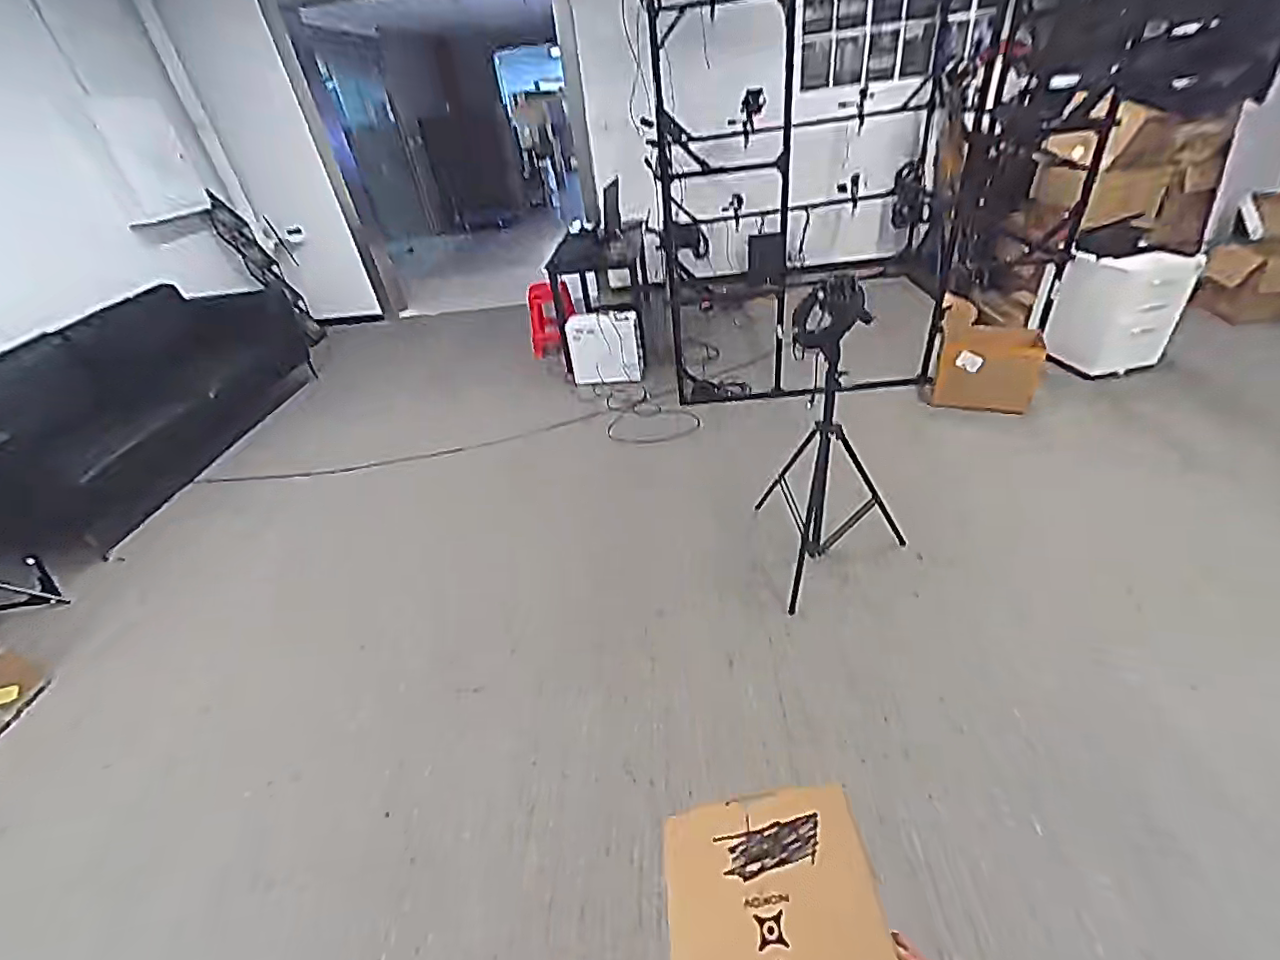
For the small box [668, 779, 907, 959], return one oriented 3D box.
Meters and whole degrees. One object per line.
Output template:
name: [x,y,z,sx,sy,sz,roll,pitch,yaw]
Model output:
small box: [0.128,0.385,0.445,0.168,0.176,0.179,-17,34,11]
